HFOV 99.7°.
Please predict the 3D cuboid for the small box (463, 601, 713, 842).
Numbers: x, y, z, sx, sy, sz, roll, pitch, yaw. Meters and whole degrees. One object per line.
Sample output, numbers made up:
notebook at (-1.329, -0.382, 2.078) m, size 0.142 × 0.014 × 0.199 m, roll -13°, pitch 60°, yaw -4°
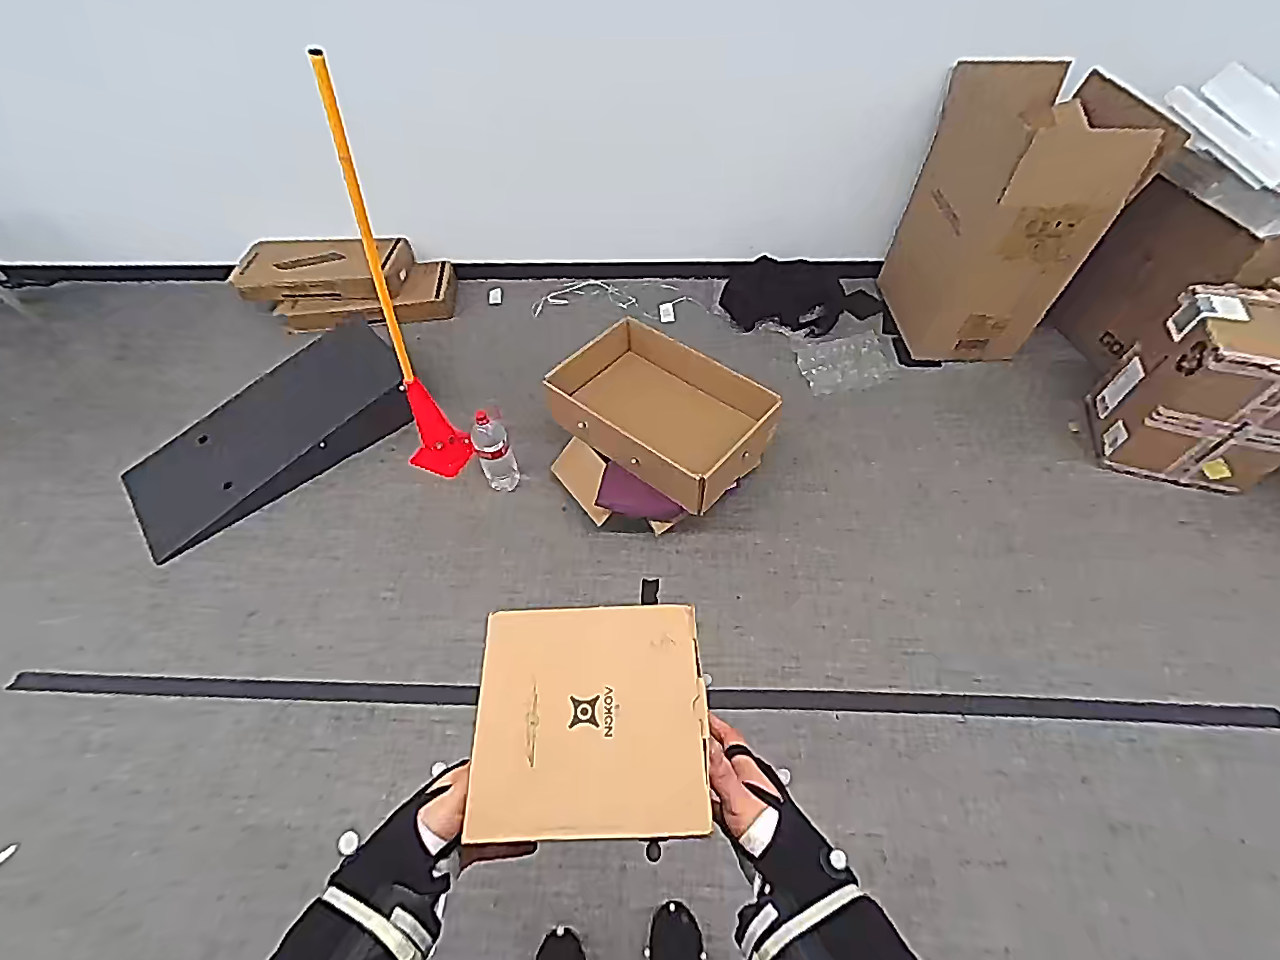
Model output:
small box at (-0.035, 0.219, 0.480) m, size 0.179 × 0.176 × 0.168 m, roll -5°, pitch 55°, yaw 2°
